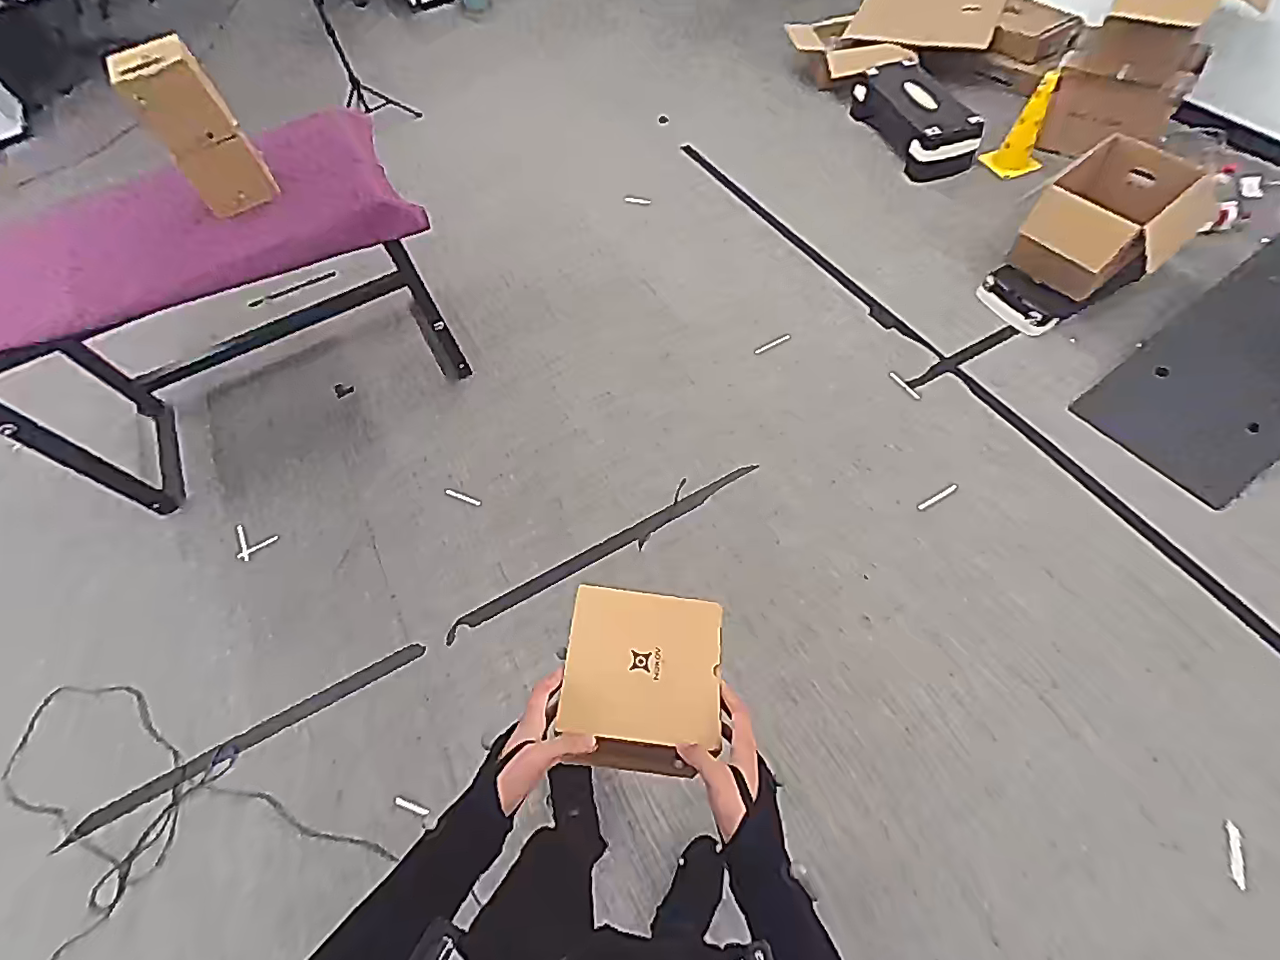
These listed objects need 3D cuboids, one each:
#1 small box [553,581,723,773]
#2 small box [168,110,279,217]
[{"bbox_3d":[-0.003,0.241,0.651,0.179,0.176,0.168,8,52,-2],"label":"small box"},{"bbox_3d":[-1.120,-0.858,1.470,0.179,0.176,0.168,-30,62,-12],"label":"small box"}]
